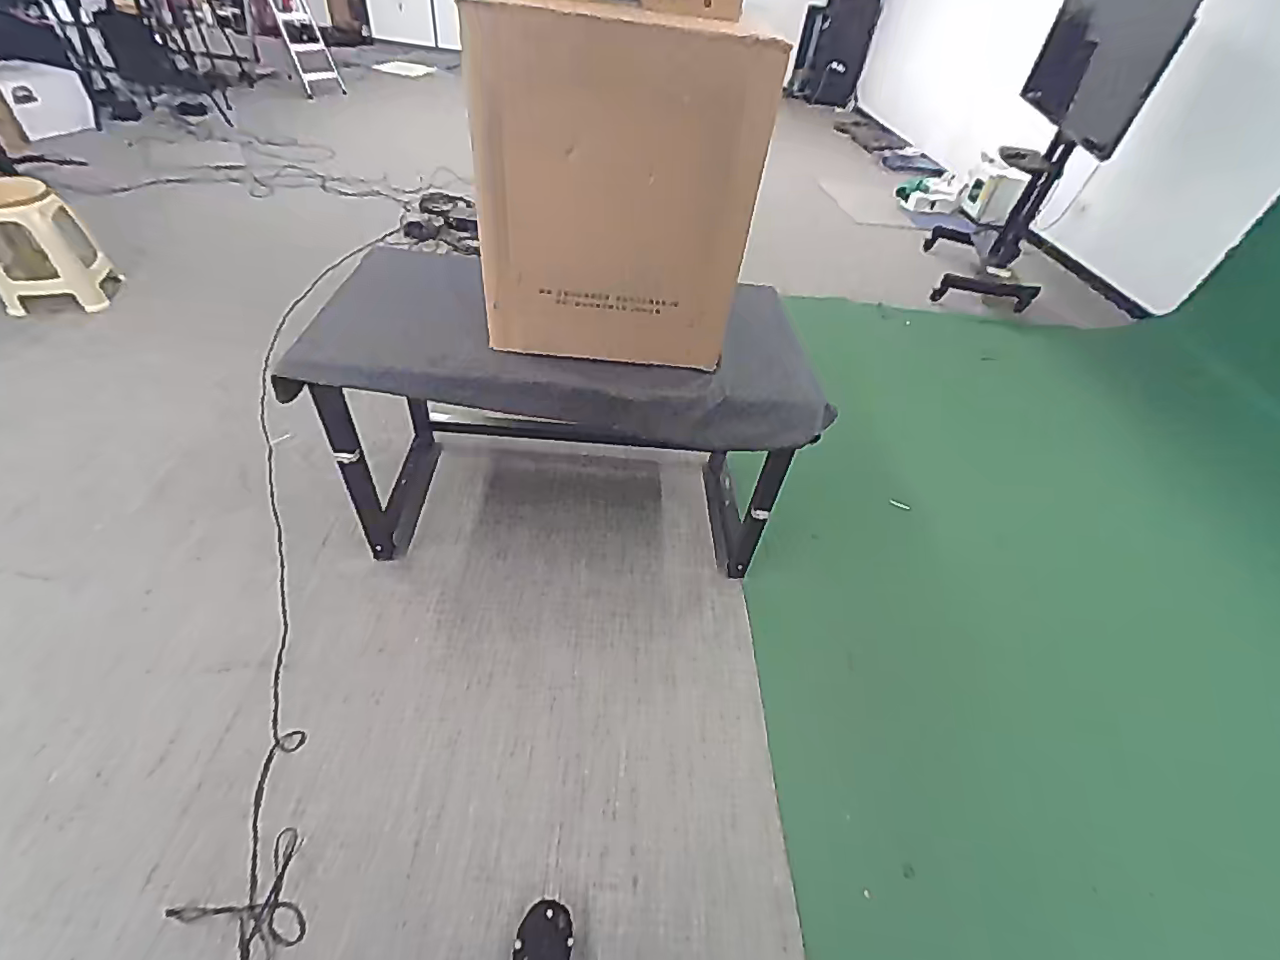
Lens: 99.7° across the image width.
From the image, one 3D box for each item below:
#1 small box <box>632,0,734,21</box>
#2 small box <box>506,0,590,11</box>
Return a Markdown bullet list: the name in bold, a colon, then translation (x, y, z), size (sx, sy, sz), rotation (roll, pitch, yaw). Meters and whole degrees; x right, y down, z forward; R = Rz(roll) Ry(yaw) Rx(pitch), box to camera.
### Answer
- **small box**: translation (0.077, -0.899, 0.912), size (0.168, 0.176, 0.179), rotation (-1, 46, -8)
- **small box**: translation (-0.163, -0.894, 0.881), size (0.168, 0.176, 0.179), rotation (1, 48, -4)
